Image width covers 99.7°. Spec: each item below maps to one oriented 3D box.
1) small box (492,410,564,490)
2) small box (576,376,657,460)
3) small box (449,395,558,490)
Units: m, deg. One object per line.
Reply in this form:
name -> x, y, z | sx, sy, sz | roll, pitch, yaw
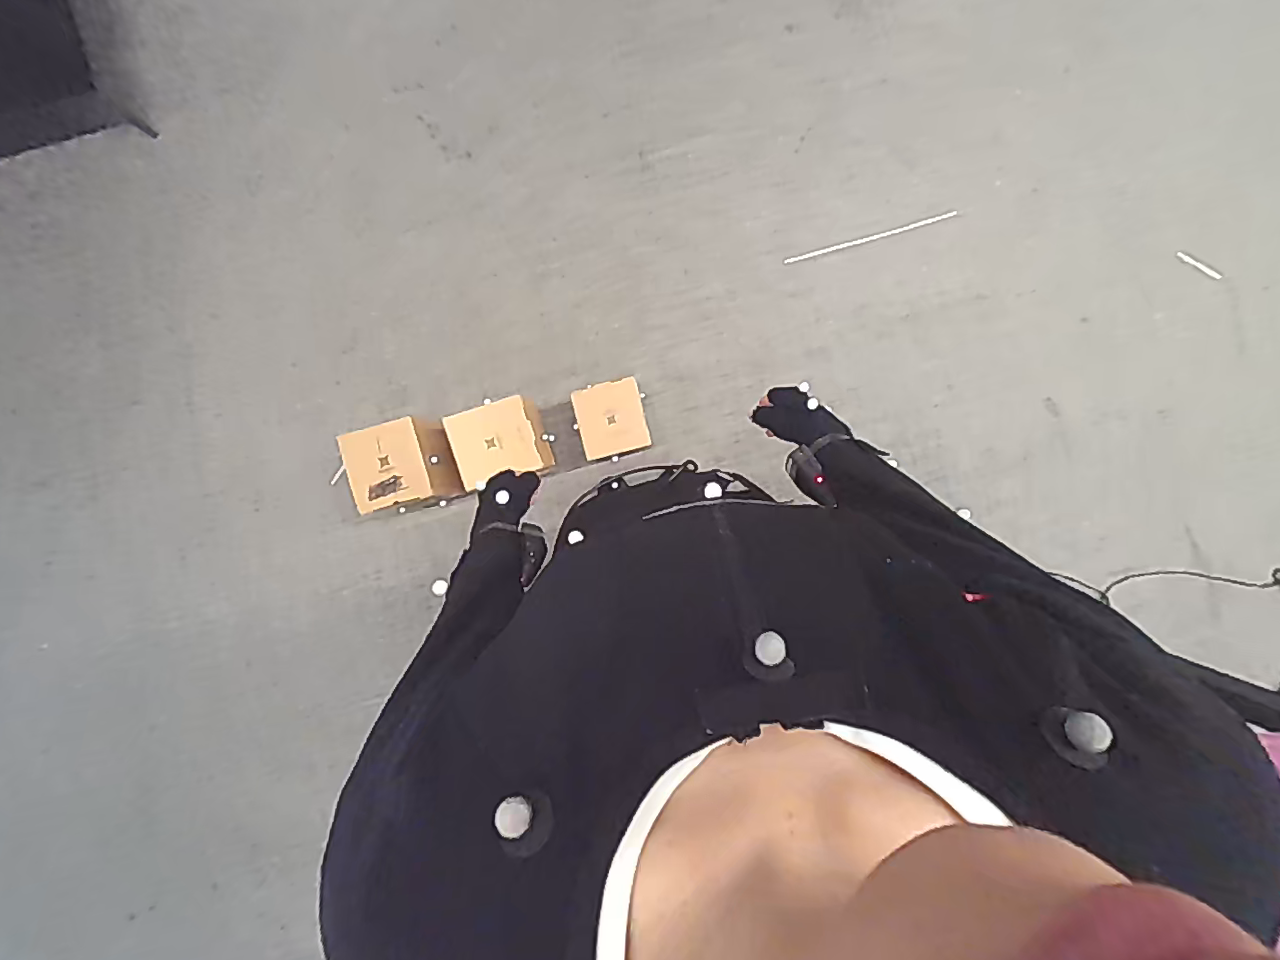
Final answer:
small box -> -0.305, -0.081, 1.385 | 0.168, 0.176, 0.179 | -17, 92, 1
small box -> -0.059, -0.153, 1.387 | 0.168, 0.176, 0.179 | -14, 93, 0
small box -> -0.300, -0.081, 1.222 | 0.179, 0.176, 0.168 | -18, 93, 0
